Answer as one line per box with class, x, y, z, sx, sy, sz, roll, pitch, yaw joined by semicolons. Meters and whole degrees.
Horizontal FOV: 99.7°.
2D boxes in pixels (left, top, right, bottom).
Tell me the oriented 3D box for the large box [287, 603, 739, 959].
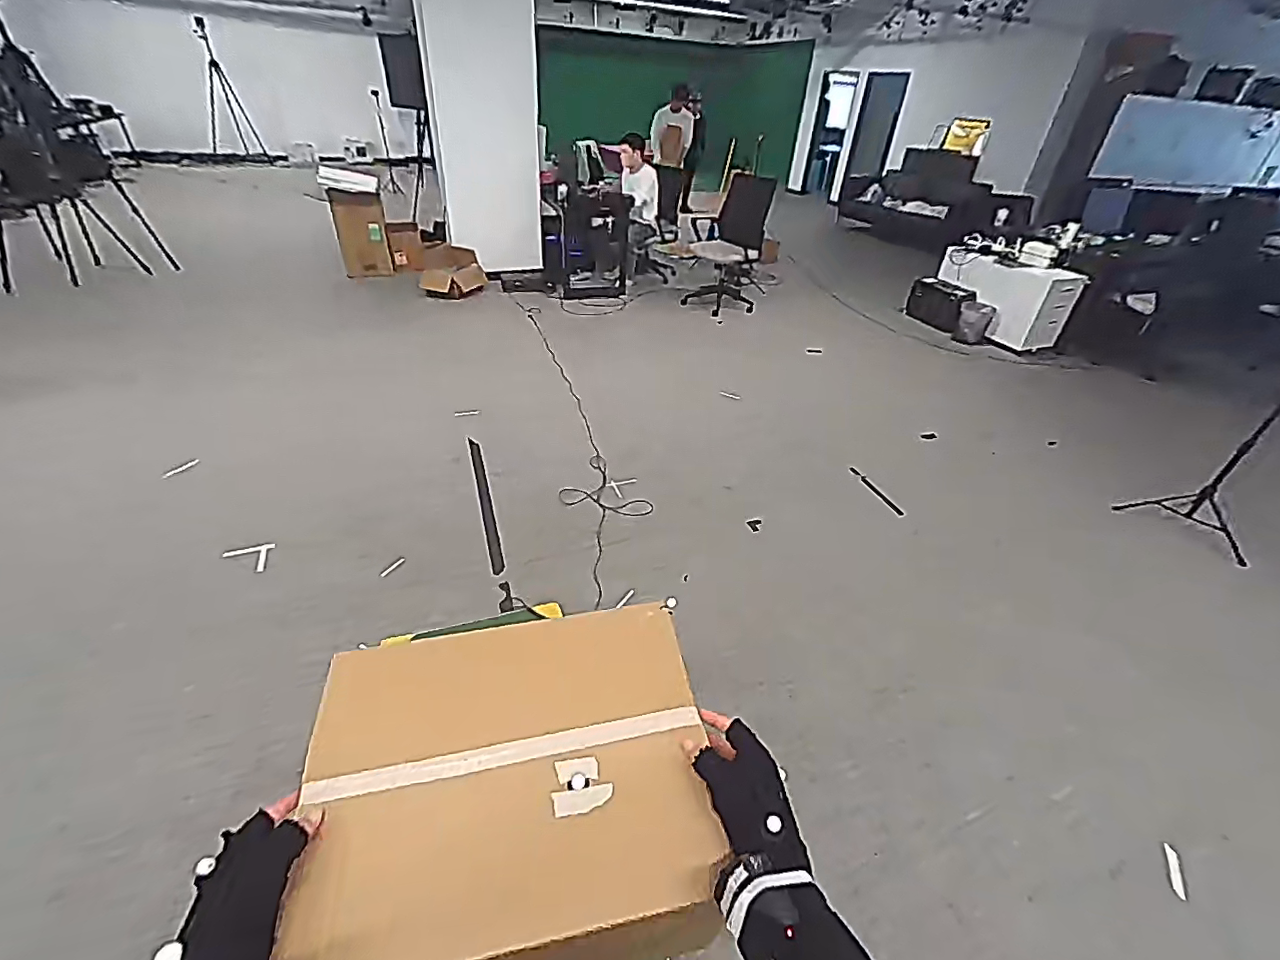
large box;-0.135;0.399;0.677;0.408;0.320;0.320;-6;43;-10
